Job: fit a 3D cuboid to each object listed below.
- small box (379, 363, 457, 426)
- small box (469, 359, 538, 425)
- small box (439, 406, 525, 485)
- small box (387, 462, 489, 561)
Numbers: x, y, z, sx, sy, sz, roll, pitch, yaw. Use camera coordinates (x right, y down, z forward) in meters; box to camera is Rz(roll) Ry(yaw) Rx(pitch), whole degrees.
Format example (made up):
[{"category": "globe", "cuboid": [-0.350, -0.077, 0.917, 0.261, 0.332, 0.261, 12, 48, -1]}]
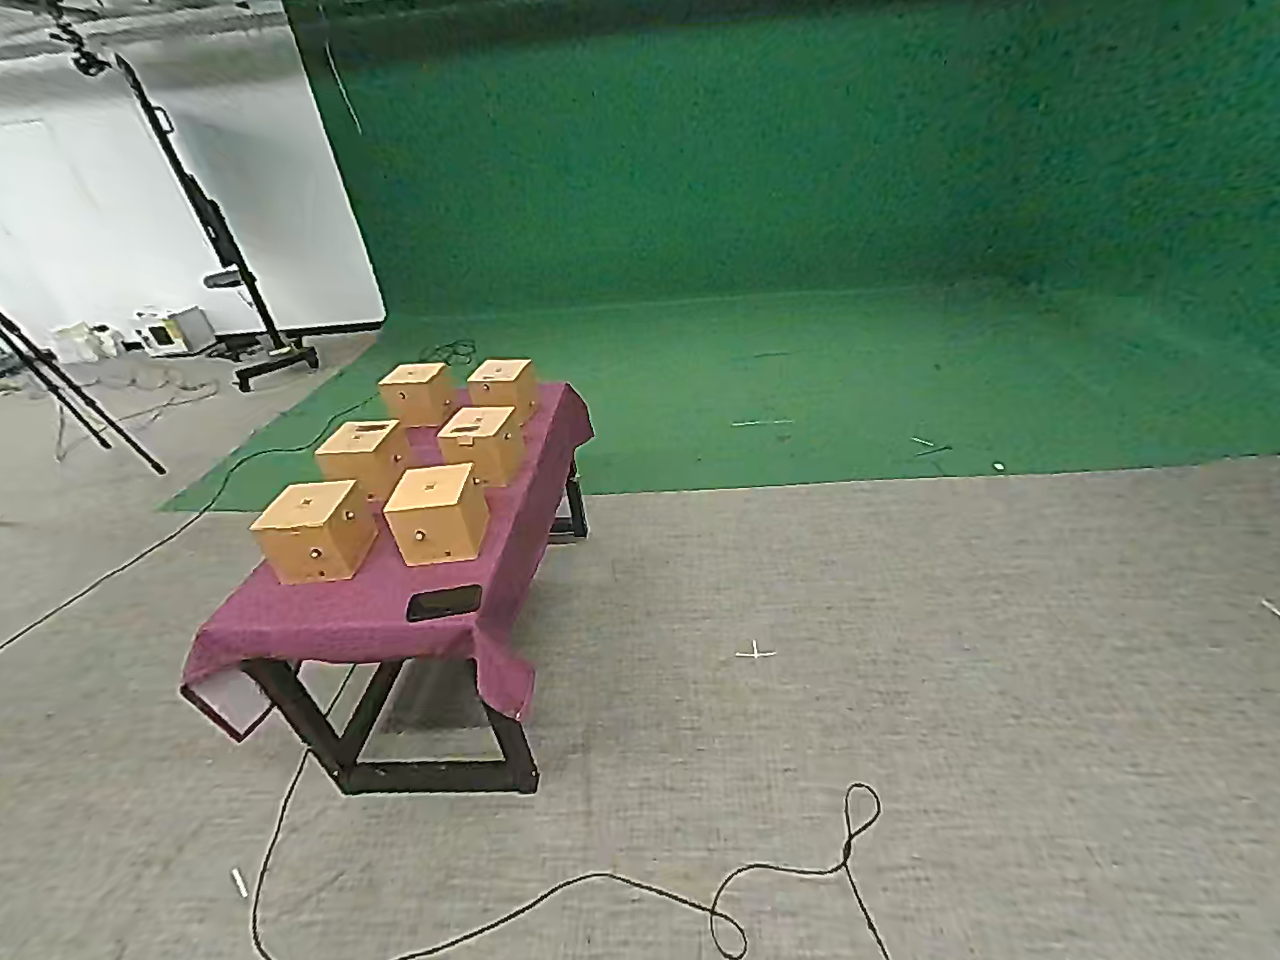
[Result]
[{"category": "small box", "cuboid": [-0.771, -0.299, 1.897, 0.179, 0.176, 0.168, 0, 35, 7]}, {"category": "small box", "cuboid": [-0.460, -0.304, 1.857, 0.168, 0.176, 0.179, 1, 34, 11]}, {"category": "small box", "cuboid": [-0.442, -0.098, 1.549, 0.168, 0.176, 0.179, 1, 34, 10]}, {"category": "small box", "cuboid": [-0.470, 0.080, 1.292, 0.168, 0.176, 0.179, -6, 33, 0]}]
